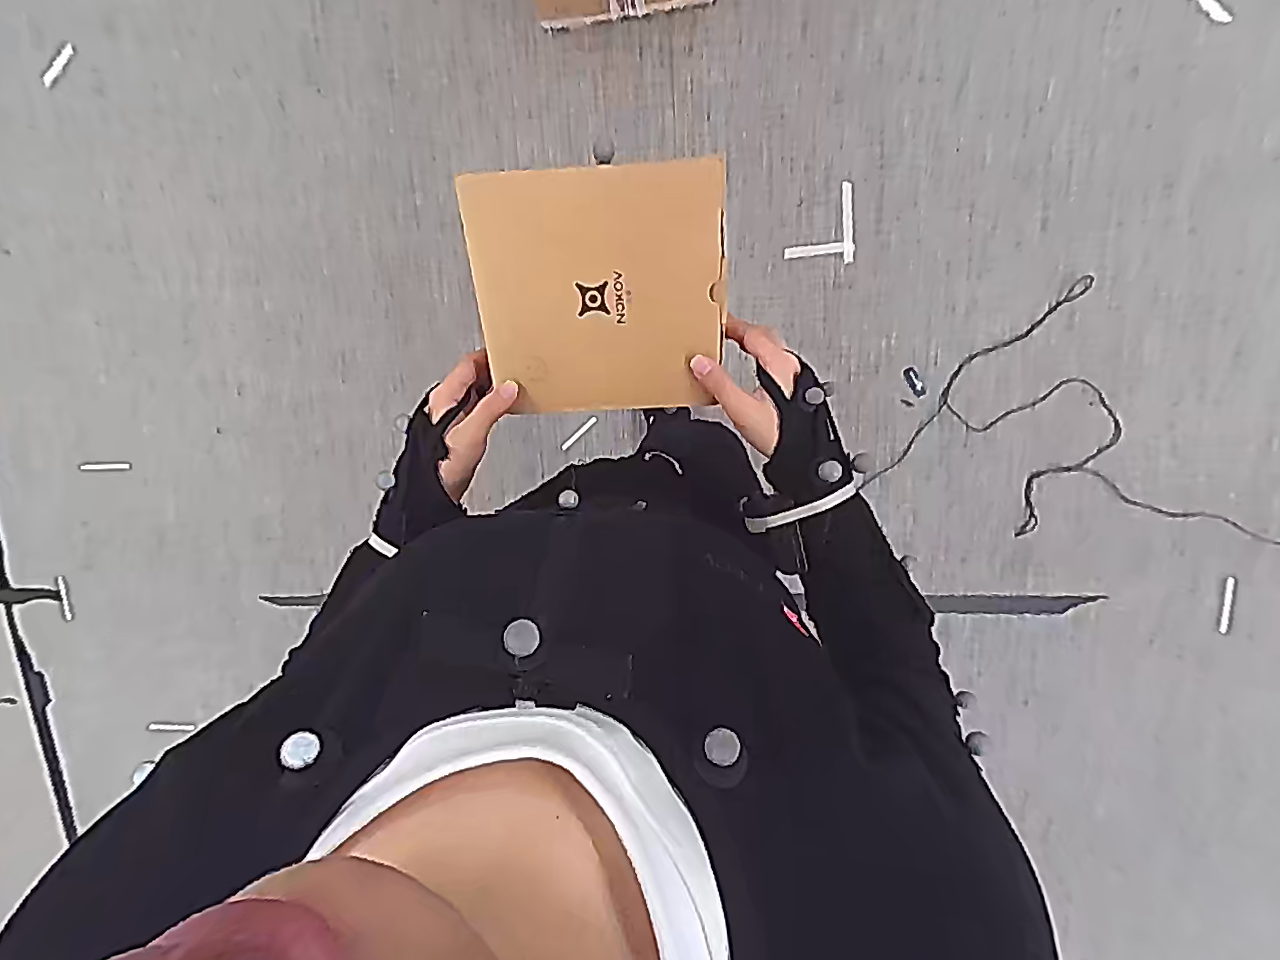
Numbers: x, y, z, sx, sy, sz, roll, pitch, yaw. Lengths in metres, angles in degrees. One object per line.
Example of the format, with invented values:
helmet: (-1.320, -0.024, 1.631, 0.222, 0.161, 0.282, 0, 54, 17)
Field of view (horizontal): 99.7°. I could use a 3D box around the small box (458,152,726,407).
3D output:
small box: (-0.026, -0.166, 0.450, 0.179, 0.176, 0.168, -3, 116, 2)
